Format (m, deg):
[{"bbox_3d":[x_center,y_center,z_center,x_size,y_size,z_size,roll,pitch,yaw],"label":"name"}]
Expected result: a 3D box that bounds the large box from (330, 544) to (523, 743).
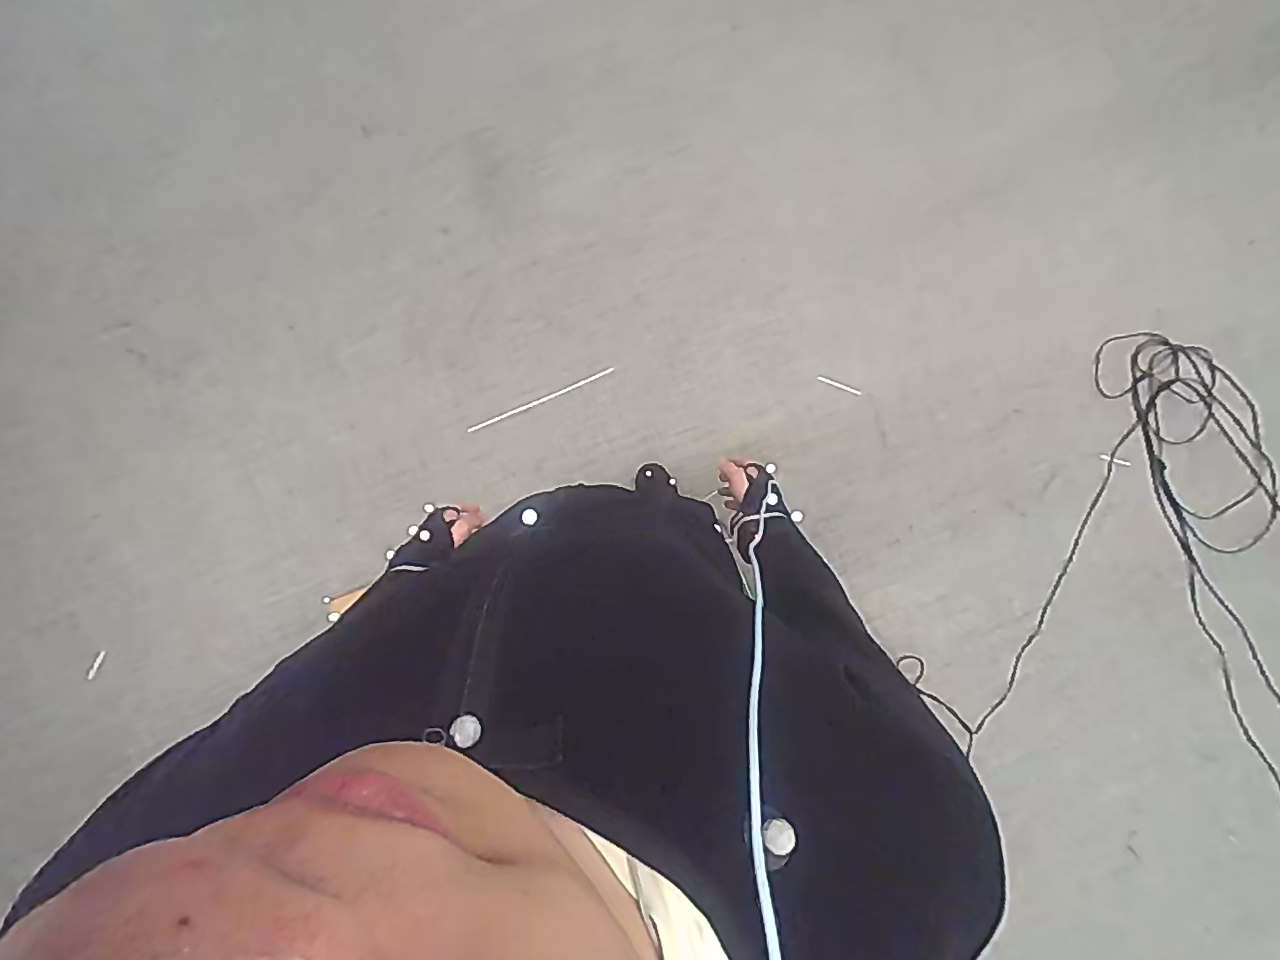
[{"bbox_3d":[-0.570,0.431,1.514,0.320,0.320,0.408,-21,90,0],"label":"large box"}]
